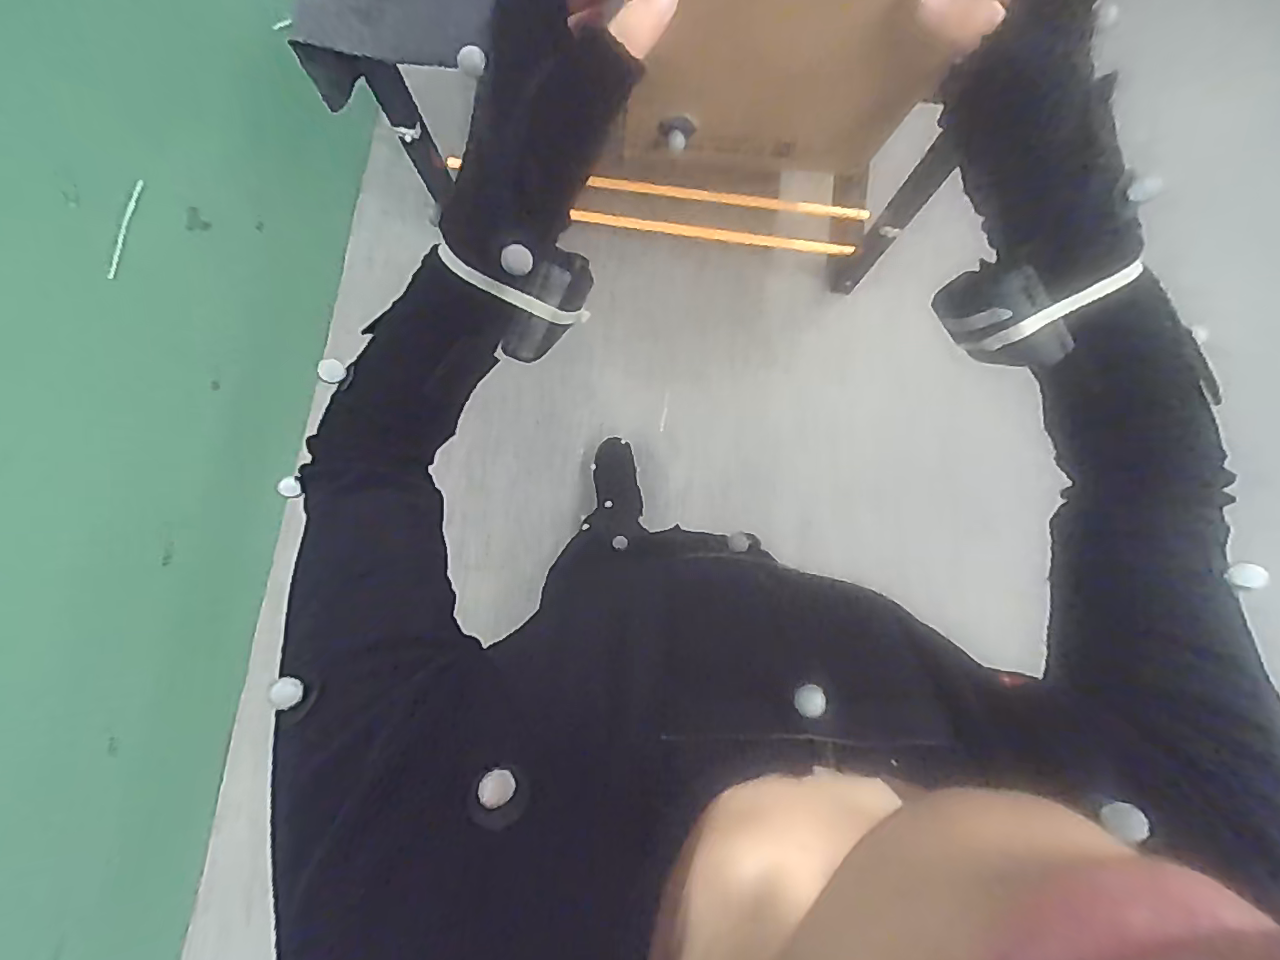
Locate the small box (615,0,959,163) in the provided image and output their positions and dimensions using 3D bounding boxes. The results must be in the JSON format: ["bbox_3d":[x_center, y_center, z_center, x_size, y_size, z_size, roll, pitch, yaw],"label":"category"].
[{"bbox_3d":[0.074,-0.303,0.287,0.168,0.176,0.179,2,86,-5],"label":"small box"}]
